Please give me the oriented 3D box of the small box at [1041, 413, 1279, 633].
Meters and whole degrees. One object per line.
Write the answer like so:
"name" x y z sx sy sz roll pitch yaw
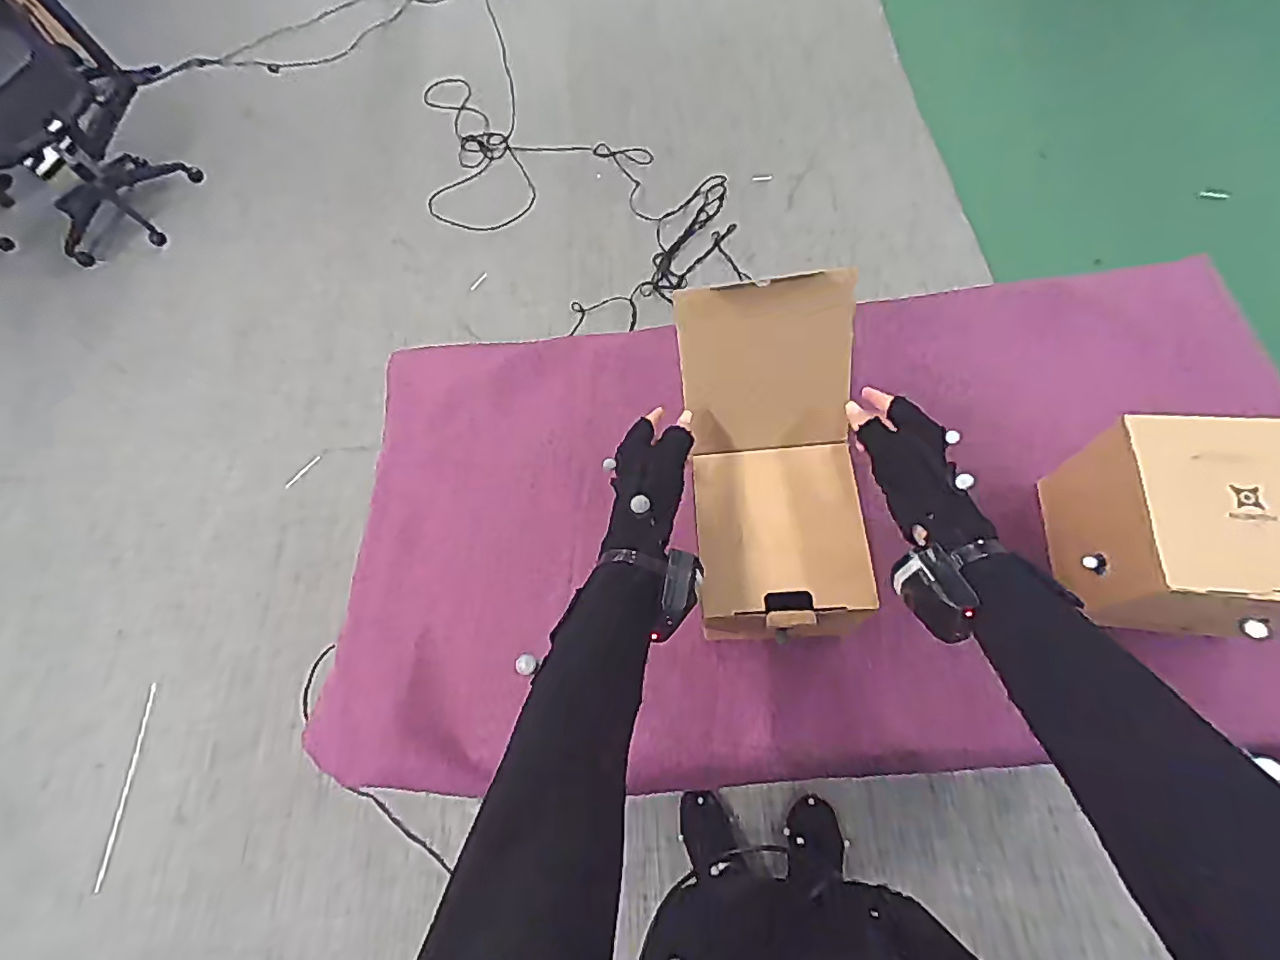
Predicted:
"small box" 0.549 0.051 0.550 0.168 0.176 0.179 4 67 11

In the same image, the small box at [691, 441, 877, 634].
"small box" 0.148 0.076 0.606 0.168 0.176 0.179 -5 66 7
